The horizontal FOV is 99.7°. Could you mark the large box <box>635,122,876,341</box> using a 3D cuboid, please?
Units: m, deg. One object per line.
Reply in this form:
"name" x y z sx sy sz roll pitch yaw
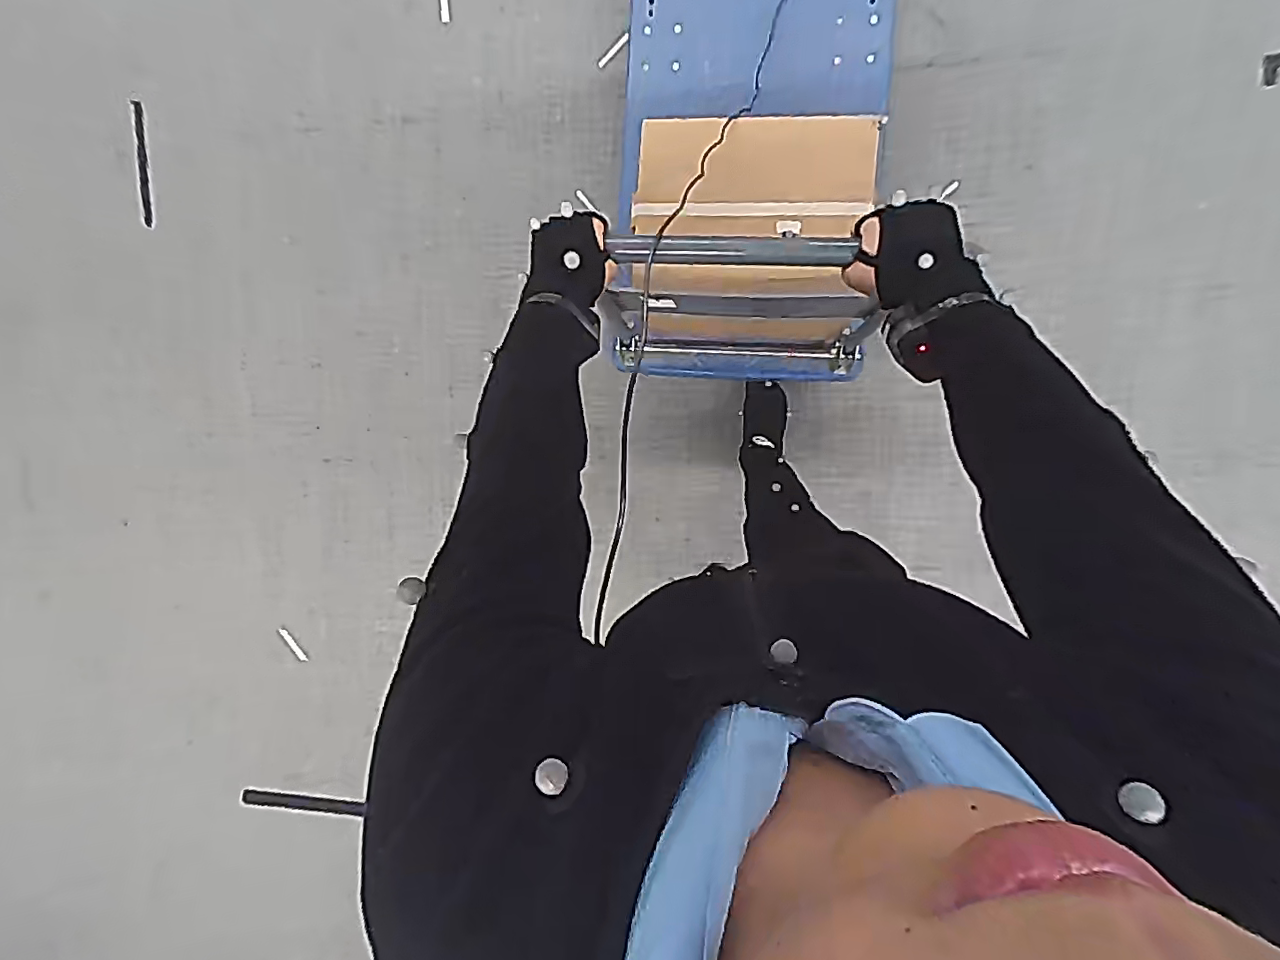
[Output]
"large box" 0.210 -0.468 1.087 0.408 0.320 0.320 4 94 7
